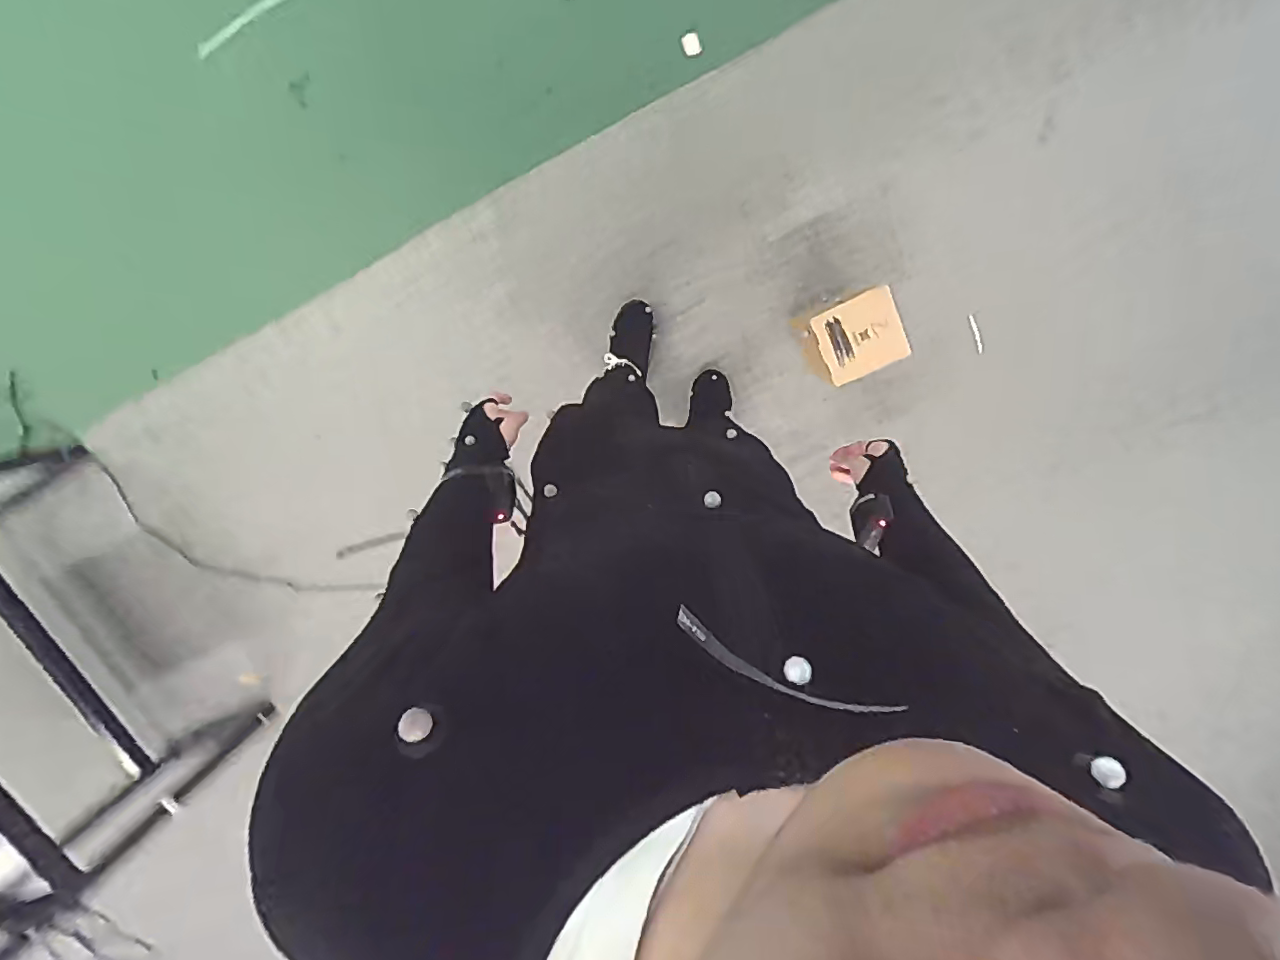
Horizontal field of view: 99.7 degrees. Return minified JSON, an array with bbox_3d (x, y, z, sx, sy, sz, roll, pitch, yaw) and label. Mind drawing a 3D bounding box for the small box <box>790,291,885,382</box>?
[{"bbox_3d":[0.509,-0.373,1.415,0.168,0.176,0.179,-22,102,11],"label":"small box"}]
